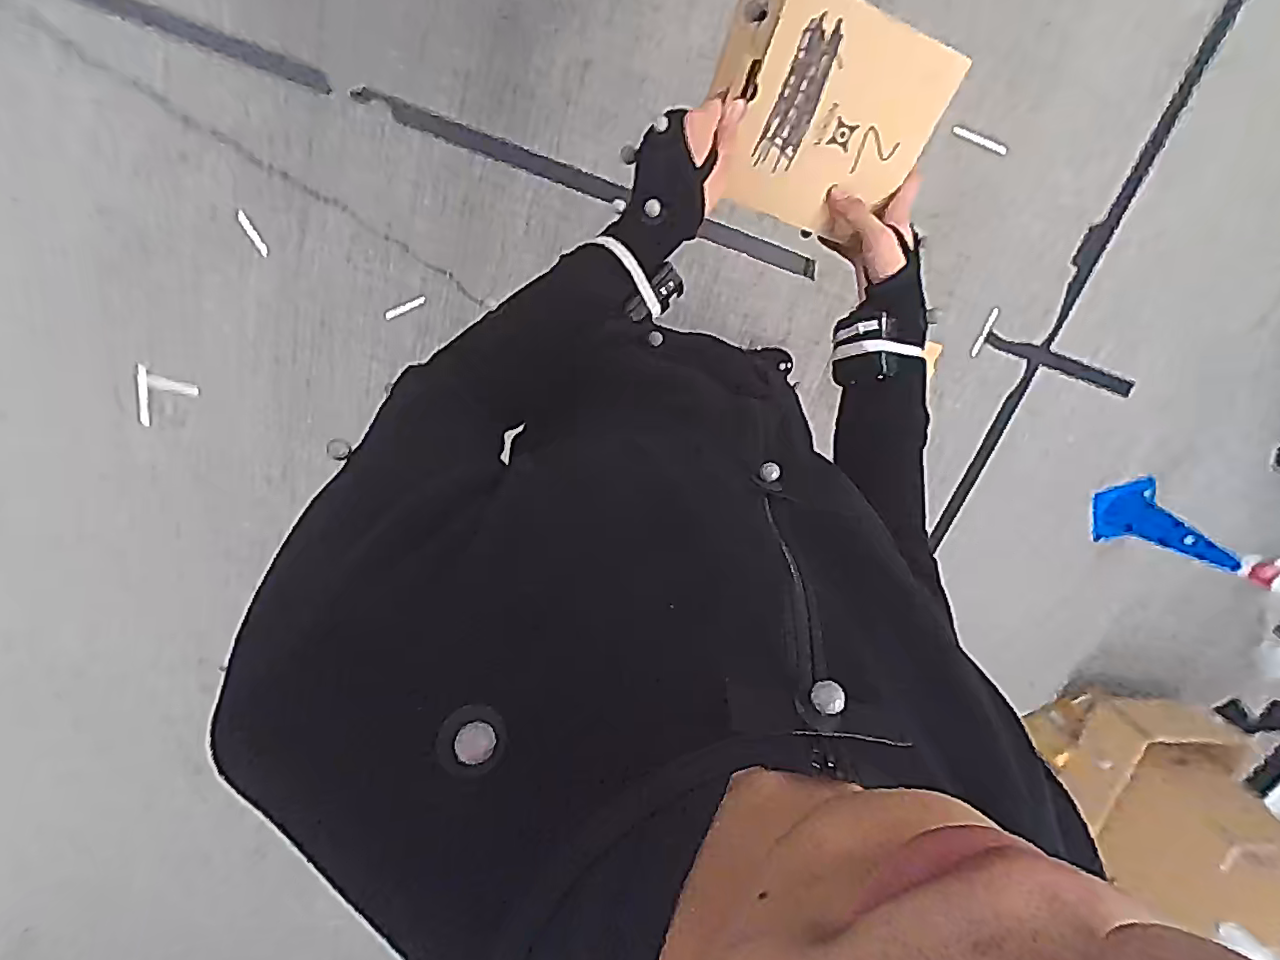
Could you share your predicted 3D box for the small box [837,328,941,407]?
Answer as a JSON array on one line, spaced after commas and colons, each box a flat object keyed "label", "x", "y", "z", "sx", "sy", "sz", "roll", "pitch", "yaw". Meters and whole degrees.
[{"label": "small box", "x": 0.676, "y": -0.316, "z": 1.494, "sx": 0.179, "sy": 0.176, "sz": 0.168, "roll": 12, "pitch": 111, "yaw": -8}]
